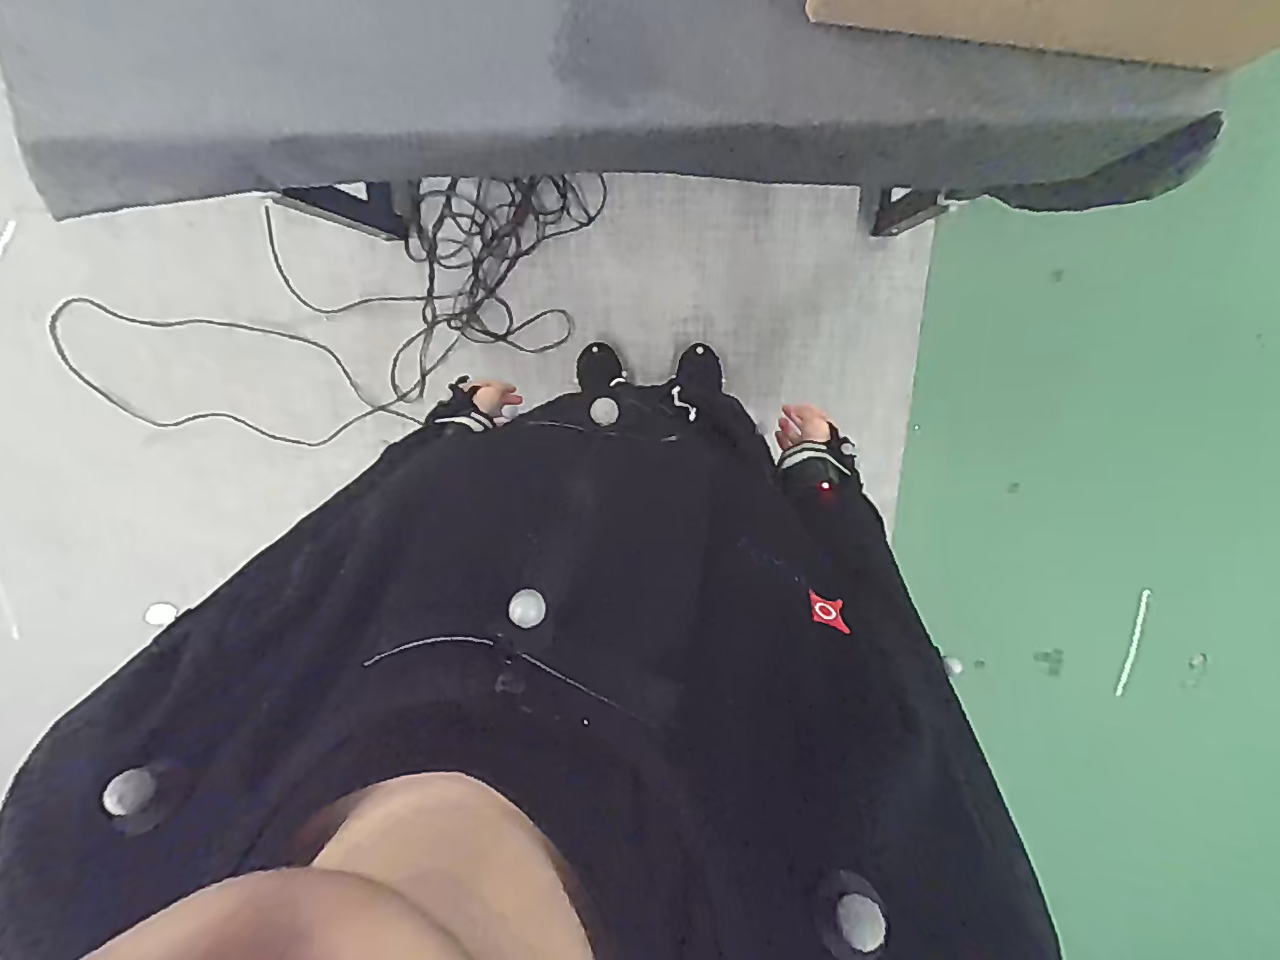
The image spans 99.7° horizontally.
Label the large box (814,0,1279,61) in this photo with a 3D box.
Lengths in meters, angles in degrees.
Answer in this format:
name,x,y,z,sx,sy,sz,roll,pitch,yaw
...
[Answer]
name,x,y,z,sx,sy,sz,roll,pitch,yaw
large box,0.365,-0.520,0.326,0.408,0.320,0.320,7,105,0
